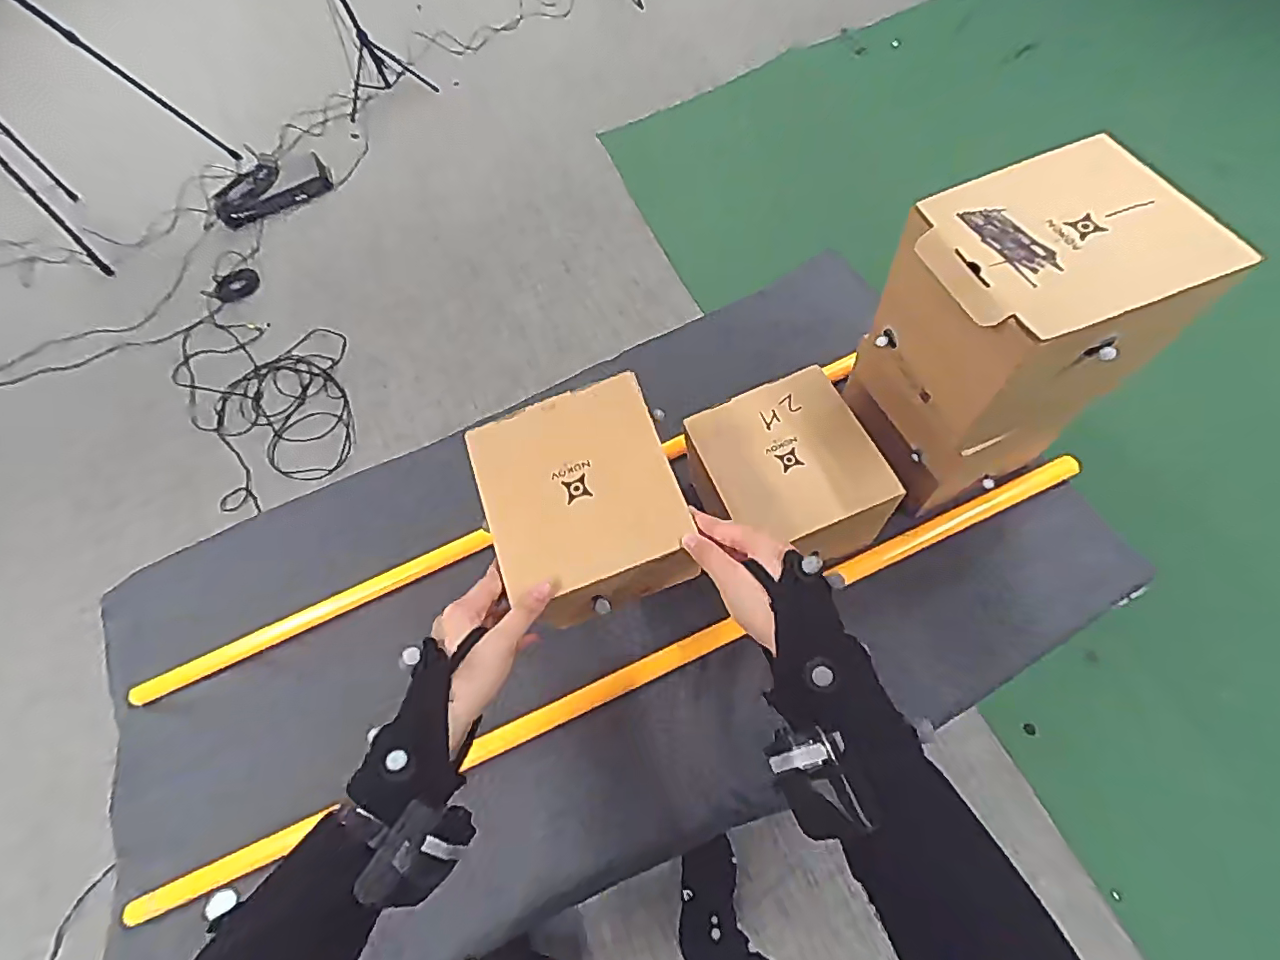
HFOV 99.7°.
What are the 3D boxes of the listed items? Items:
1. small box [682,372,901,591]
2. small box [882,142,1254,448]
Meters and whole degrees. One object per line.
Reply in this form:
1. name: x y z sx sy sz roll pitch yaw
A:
1. small box: 0.163 0.015 0.624 0.168 0.176 0.179 -22 63 0
2. small box: 0.344 -0.154 0.490 0.179 0.176 0.168 -21 64 -1
